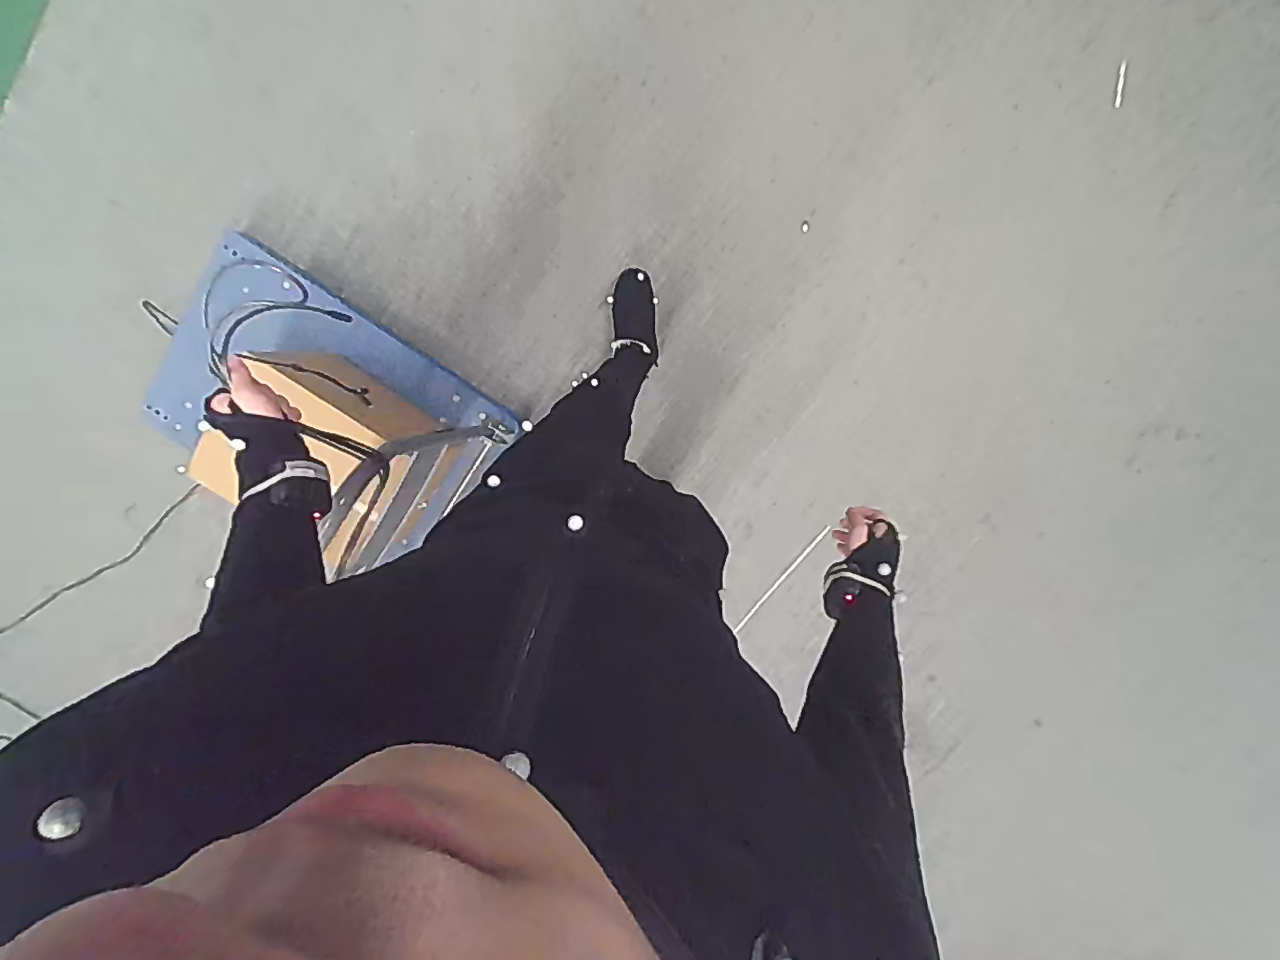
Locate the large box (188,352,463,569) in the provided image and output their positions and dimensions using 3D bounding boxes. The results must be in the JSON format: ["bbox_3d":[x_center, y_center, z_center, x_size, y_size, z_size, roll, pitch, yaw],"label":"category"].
[{"bbox_3d":[-0.707,-0.063,1.277,0.408,0.320,0.320,34,101,-4],"label":"large box"}]
